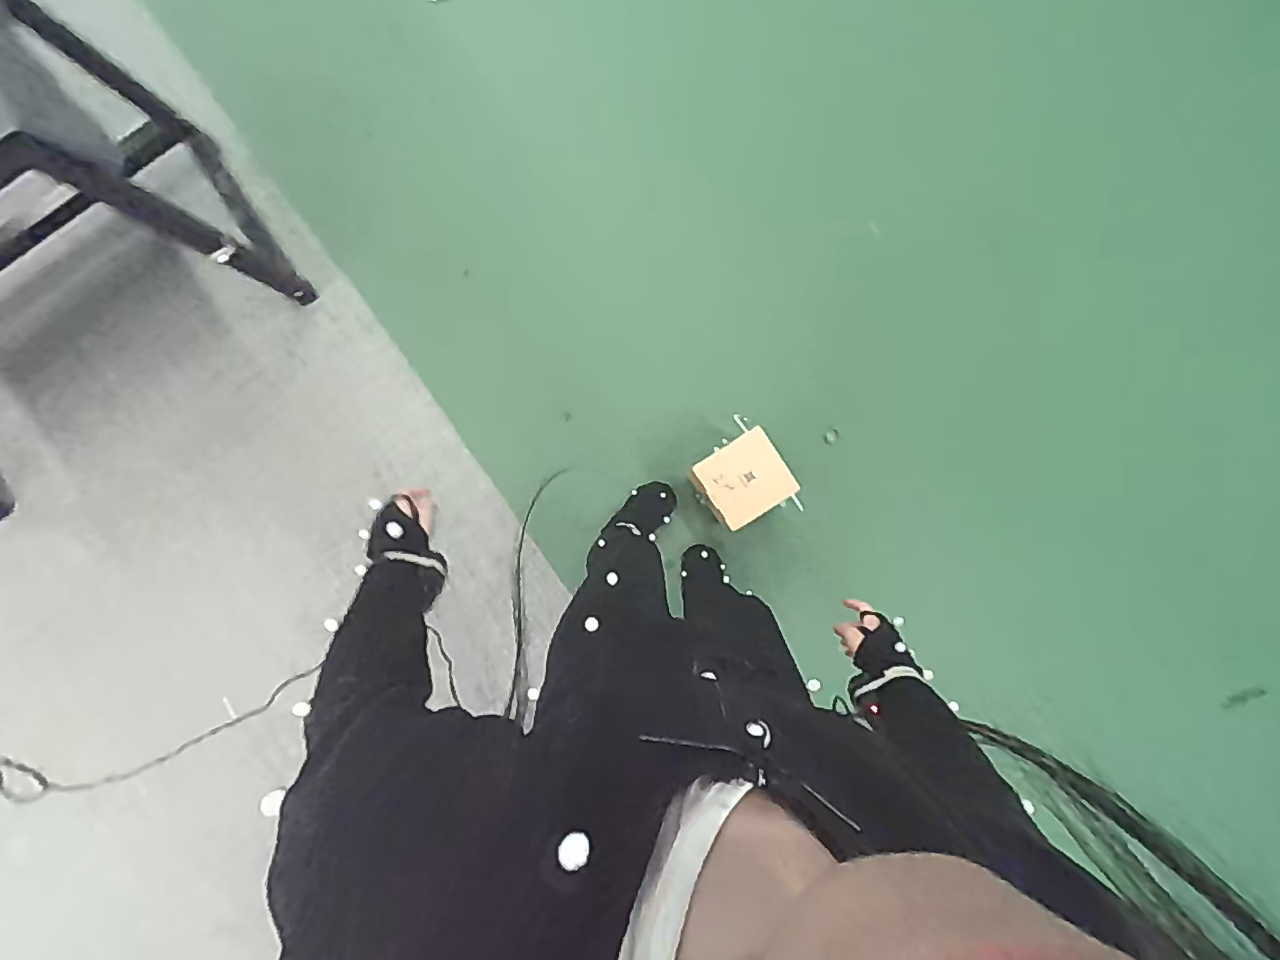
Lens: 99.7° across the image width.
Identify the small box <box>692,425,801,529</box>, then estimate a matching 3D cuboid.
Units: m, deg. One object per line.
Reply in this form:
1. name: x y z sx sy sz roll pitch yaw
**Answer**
1. small box: 0.231 -0.005 1.233 0.179 0.176 0.168 -32 87 1
